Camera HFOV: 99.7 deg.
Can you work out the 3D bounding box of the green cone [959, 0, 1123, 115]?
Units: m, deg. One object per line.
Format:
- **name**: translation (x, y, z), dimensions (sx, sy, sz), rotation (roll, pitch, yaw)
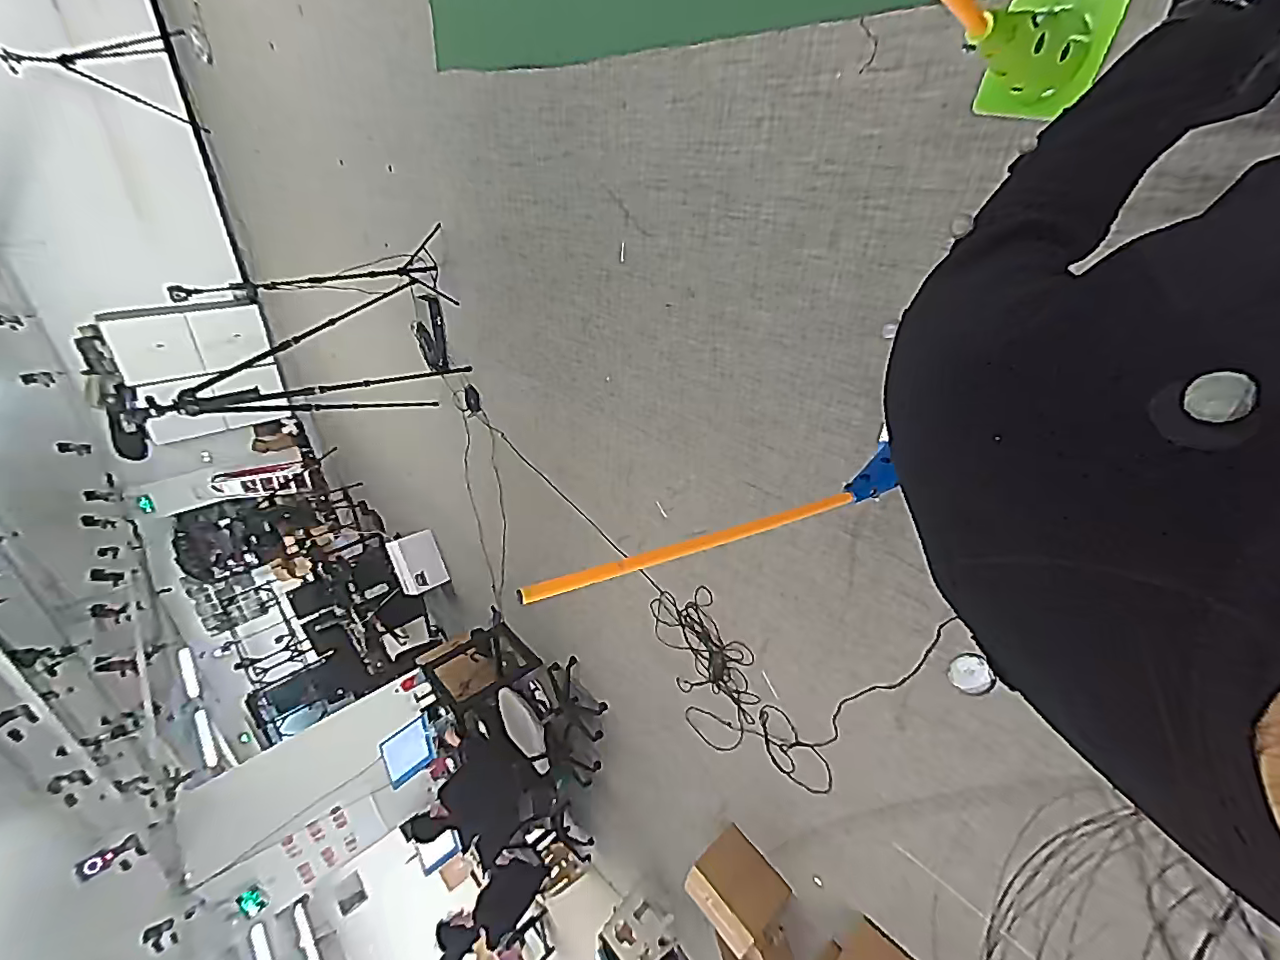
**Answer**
- **green cone**: translation (0.669, -0.792, 0.966), dimensions (0.202, 0.368, 0.200), rotation (35, 133, 36)
